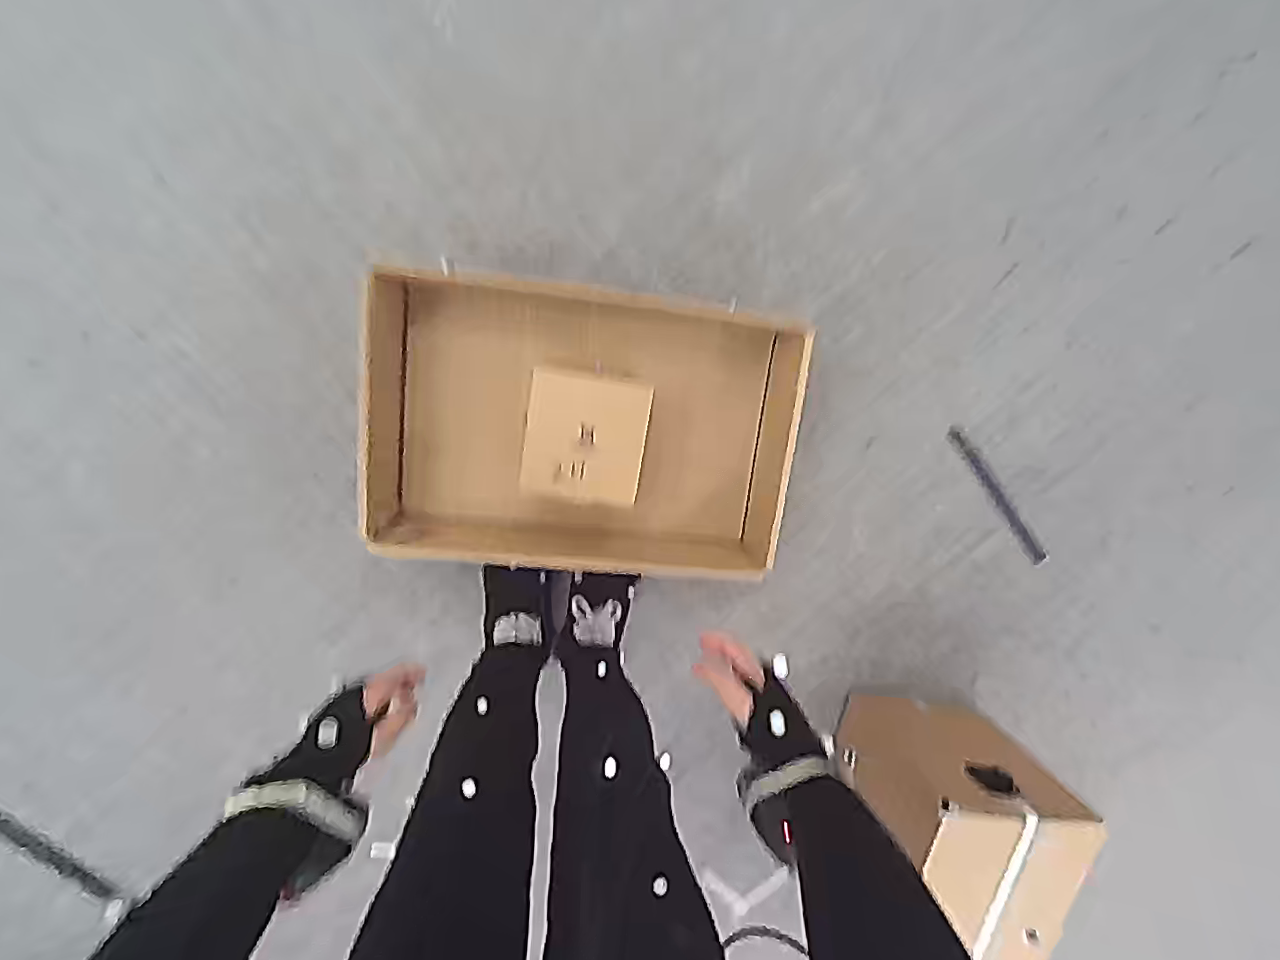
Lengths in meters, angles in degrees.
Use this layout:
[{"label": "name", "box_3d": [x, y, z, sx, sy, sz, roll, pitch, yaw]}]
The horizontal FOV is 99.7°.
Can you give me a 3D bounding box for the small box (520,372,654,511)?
[{"label": "small box", "box_3d": [-0.084, -0.066, 0.830, 0.168, 0.176, 0.179, 9, 101, -8]}]
